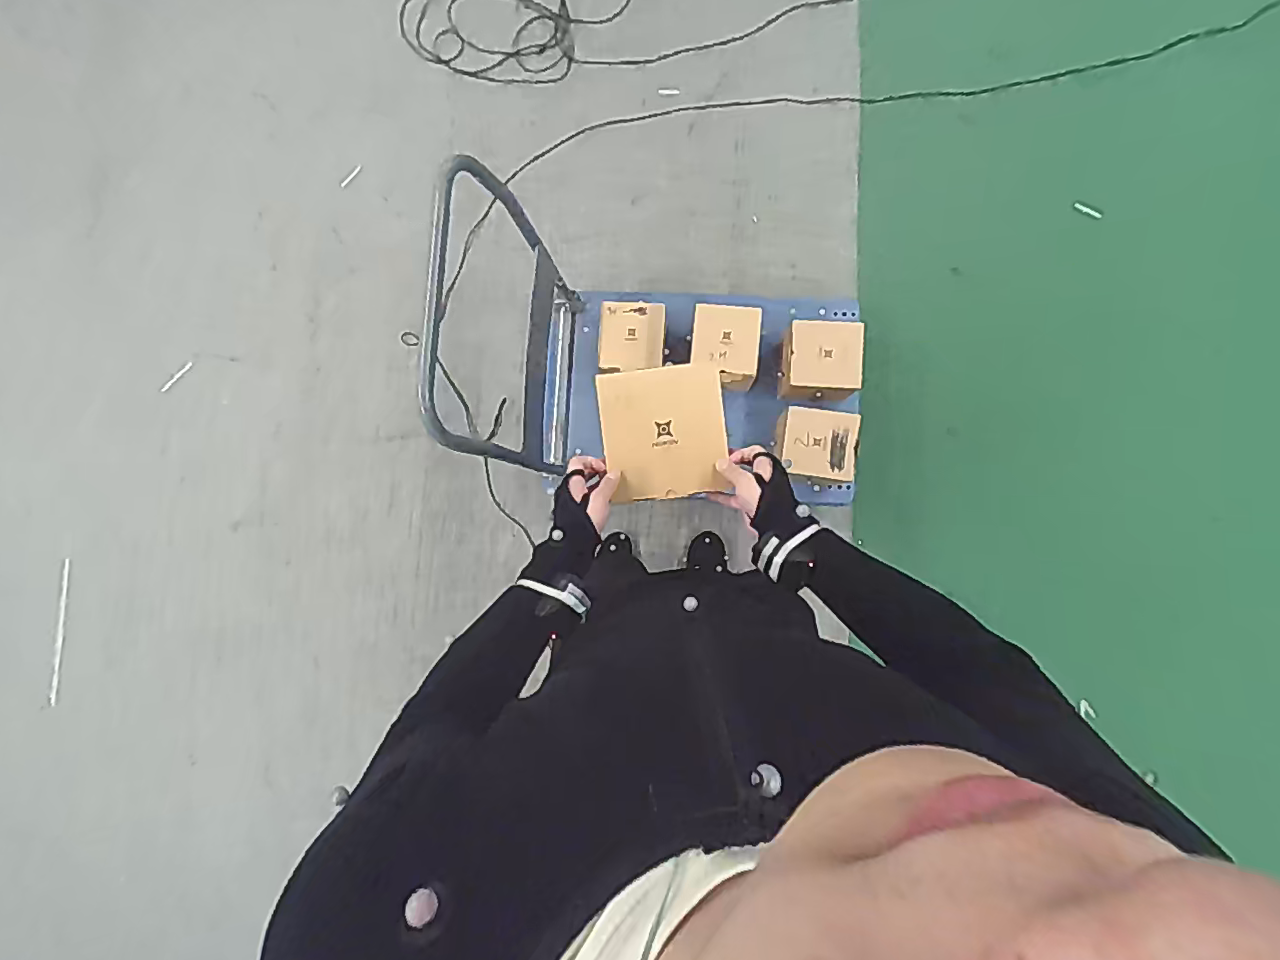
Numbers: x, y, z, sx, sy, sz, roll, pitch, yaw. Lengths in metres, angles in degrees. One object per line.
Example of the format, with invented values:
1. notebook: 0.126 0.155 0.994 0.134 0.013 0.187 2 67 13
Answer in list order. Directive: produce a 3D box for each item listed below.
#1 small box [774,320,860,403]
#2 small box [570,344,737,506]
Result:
1. small box: 0.448 -0.300 1.394 0.179 0.176 0.168 4 86 4
2. small box: 0.019 -0.077 0.795 0.179 0.176 0.168 25 95 -1
